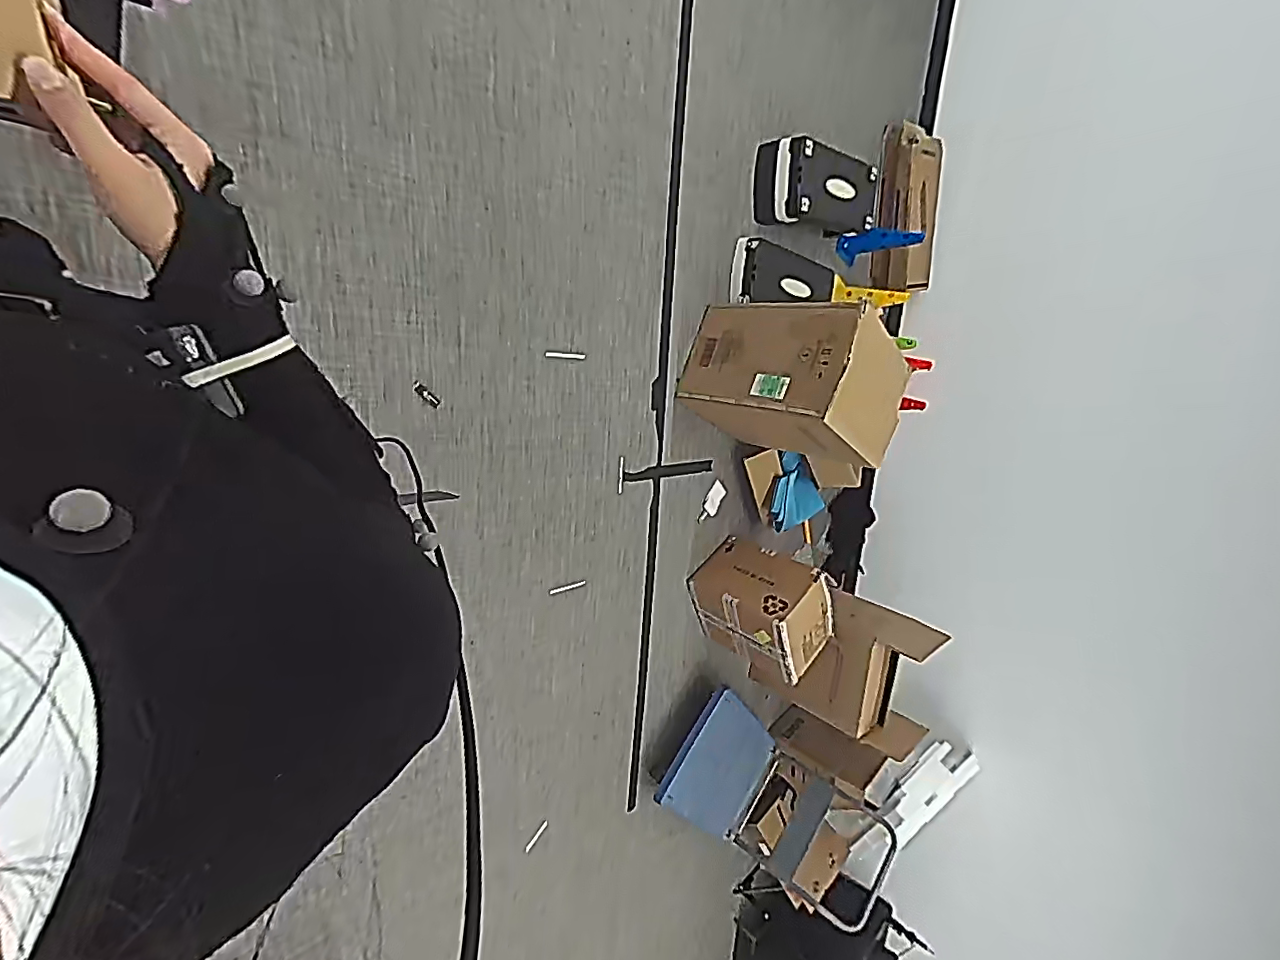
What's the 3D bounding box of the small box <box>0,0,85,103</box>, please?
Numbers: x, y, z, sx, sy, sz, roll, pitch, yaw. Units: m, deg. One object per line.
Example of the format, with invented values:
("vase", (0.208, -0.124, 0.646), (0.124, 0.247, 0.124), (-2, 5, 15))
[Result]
("small box", (-0.408, -0.292, 0.253), (0.179, 0.176, 0.168), (-14, 124, -37))
